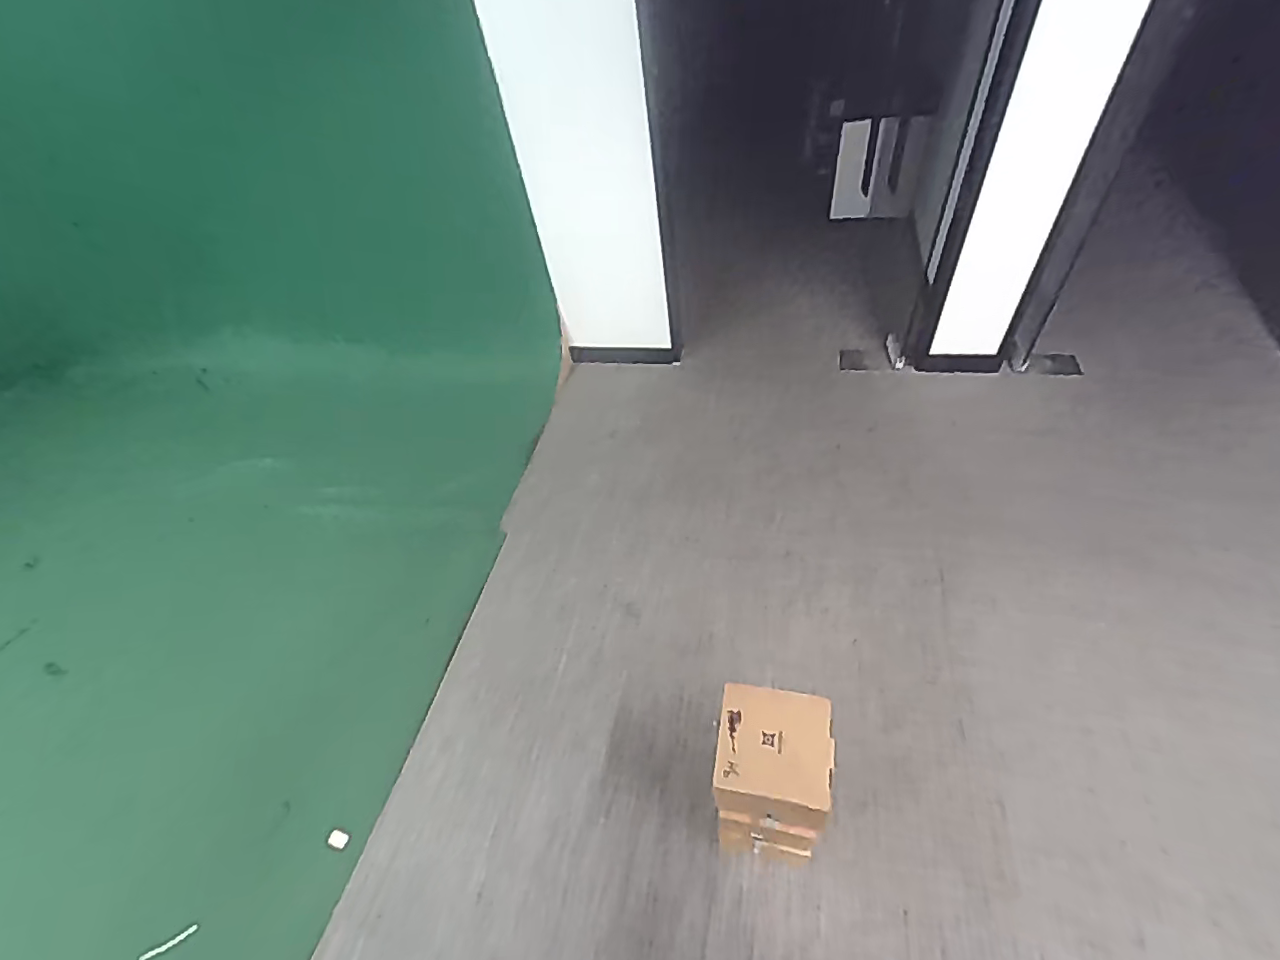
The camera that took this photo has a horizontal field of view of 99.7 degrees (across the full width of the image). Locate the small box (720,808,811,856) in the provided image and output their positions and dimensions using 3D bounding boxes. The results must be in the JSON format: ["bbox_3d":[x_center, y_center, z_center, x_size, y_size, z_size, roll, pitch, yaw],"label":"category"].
[{"bbox_3d":[0.273,0.679,1.152,0.179,0.176,0.168,7,52,16],"label":"small box"}]

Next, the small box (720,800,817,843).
[{"bbox_3d":[0.250,0.569,1.036,0.168,0.176,0.179,4,52,16],"label":"small box"}]

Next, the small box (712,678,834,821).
[{"bbox_3d":[0.225,0.459,0.917,0.179,0.176,0.168,5,51,16],"label":"small box"}]
